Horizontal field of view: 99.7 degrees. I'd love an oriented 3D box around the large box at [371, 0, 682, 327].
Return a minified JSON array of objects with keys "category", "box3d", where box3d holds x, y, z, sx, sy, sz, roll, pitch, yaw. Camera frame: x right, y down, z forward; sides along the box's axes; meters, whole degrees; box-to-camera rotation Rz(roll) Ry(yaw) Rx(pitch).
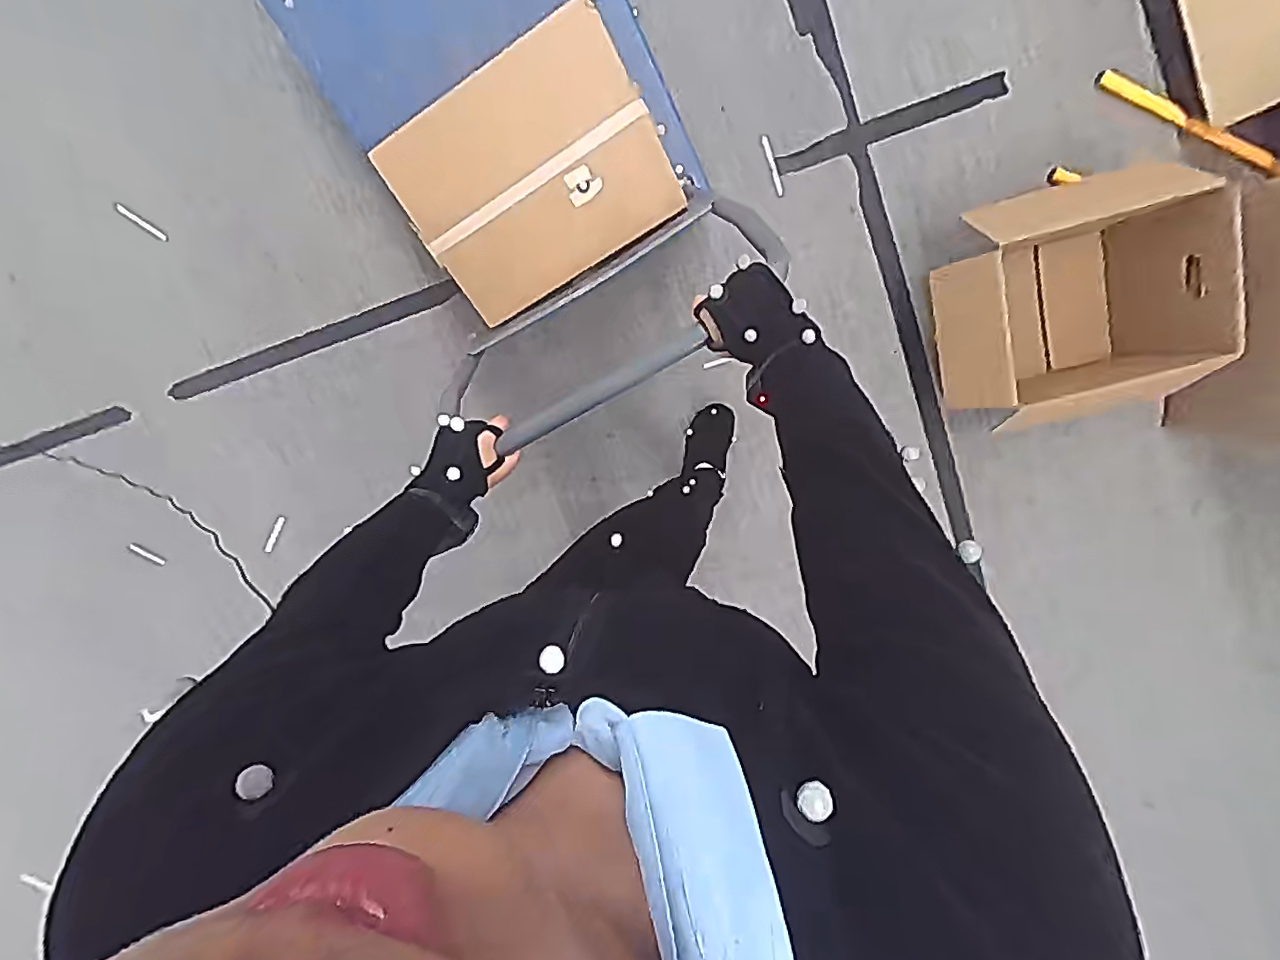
[{"category":"large box","box3d":[-0.184,-0.546,0.988,0.408,0.320,0.320,-29,118,11]}]
